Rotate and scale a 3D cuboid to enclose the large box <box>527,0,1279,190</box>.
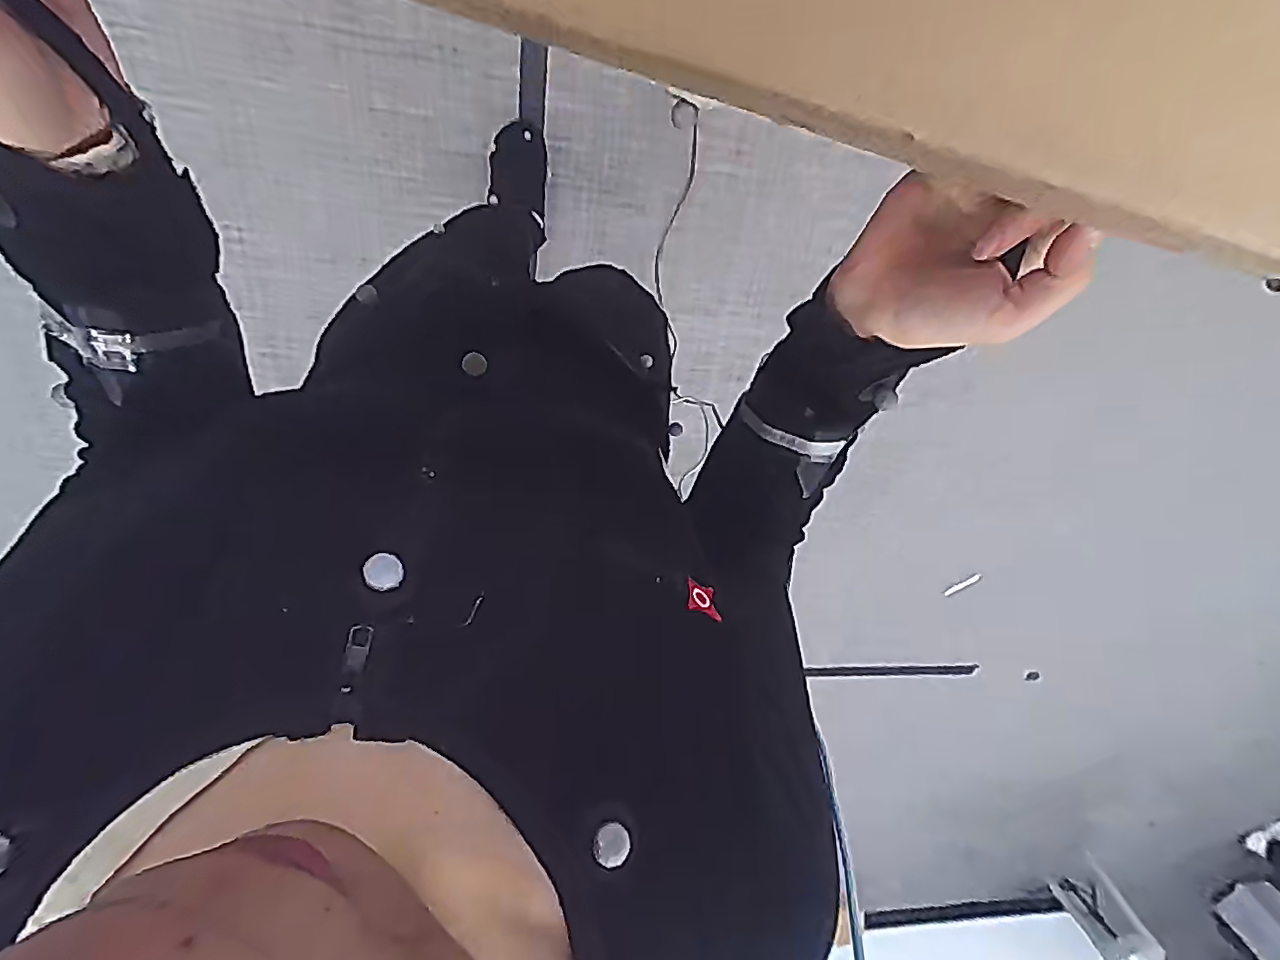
[{"bbox_3d":[0.001,-0.293,0.097,0.408,0.320,0.320,9,127,-12],"label":"large box"}]
